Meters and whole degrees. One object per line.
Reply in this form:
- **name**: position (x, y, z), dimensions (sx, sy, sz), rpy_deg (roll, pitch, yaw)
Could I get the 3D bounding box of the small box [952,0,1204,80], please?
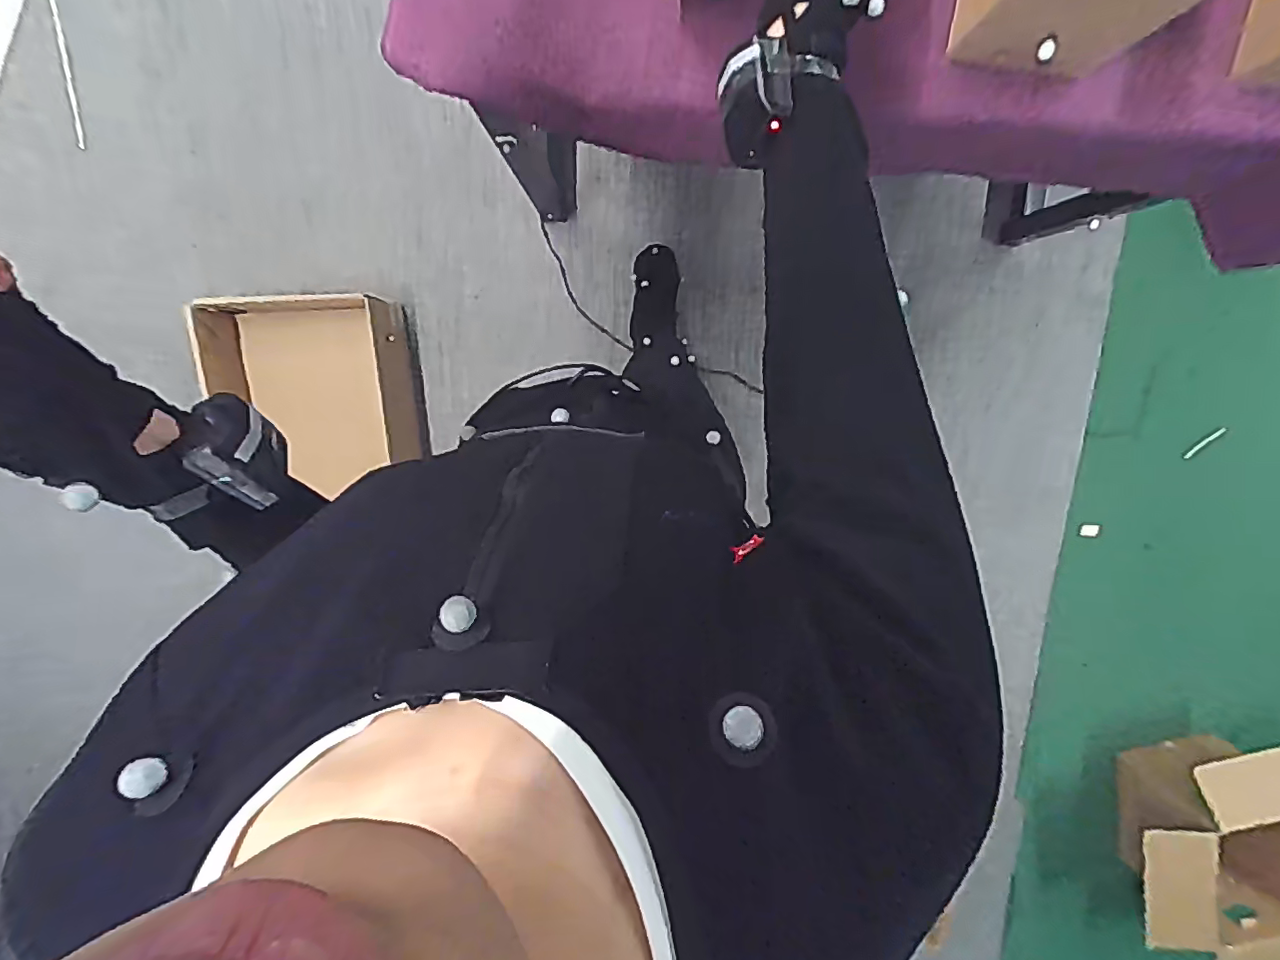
- **small box**: position (0.441, -0.539, 0.526), dimensions (0.168, 0.176, 0.179), rpy_deg (6, 102, -2)
